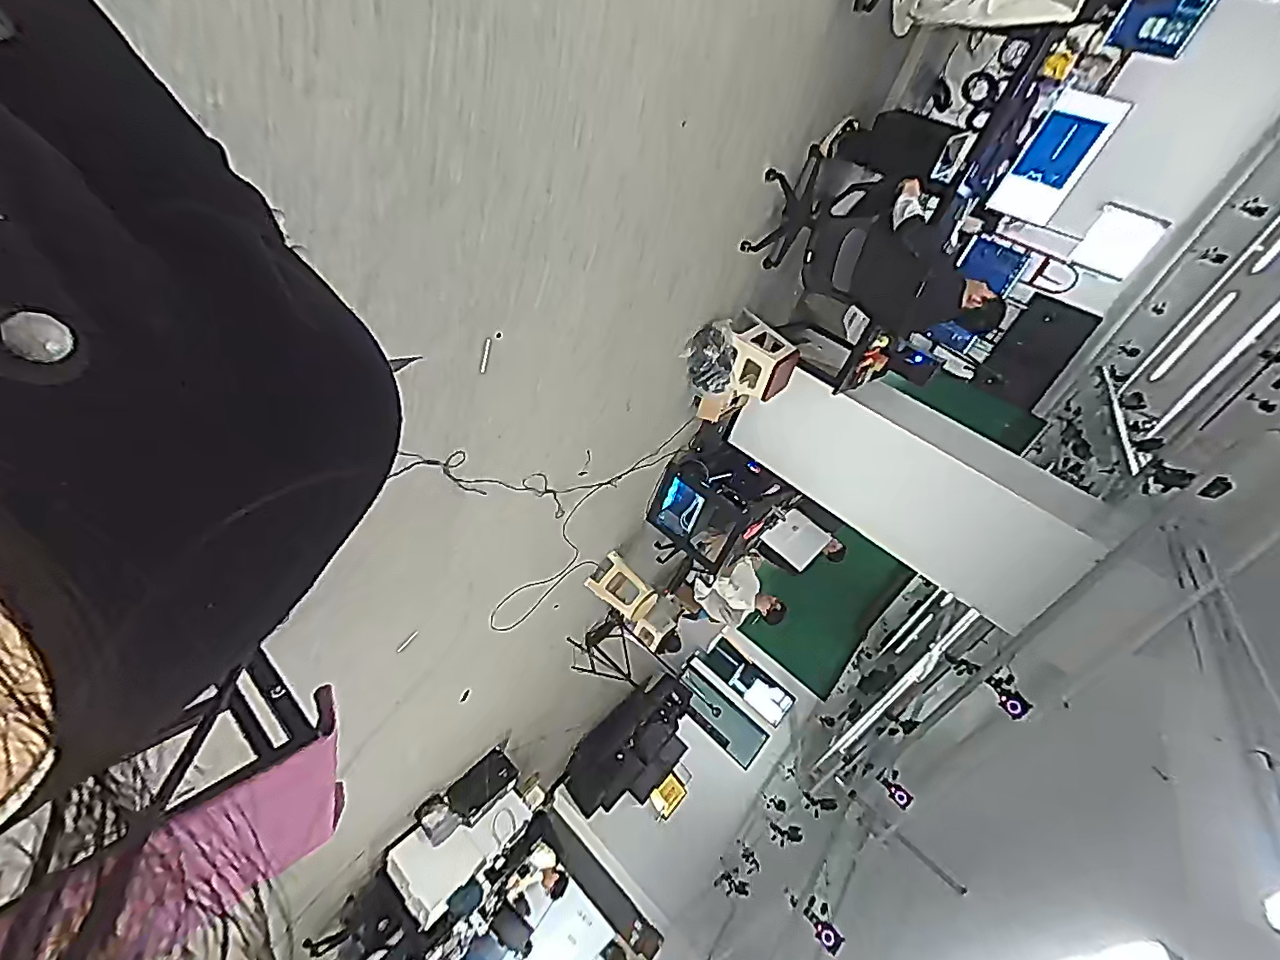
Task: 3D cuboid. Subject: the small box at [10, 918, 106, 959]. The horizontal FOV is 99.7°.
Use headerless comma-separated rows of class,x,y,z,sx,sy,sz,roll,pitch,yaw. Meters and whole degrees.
small box,-1.131,0.998,1.033,0.168,0.176,0.179,-24,144,-52
